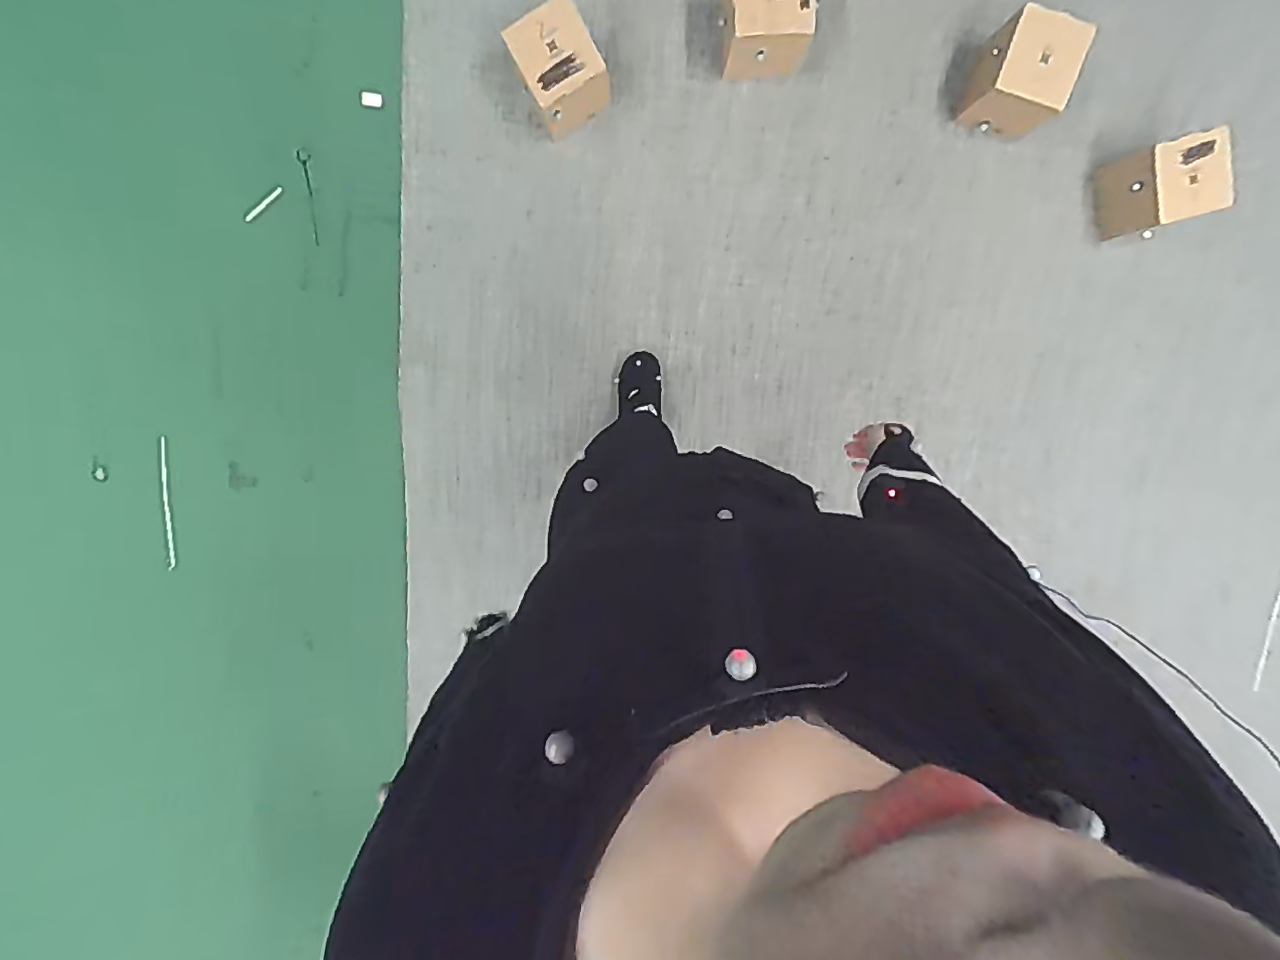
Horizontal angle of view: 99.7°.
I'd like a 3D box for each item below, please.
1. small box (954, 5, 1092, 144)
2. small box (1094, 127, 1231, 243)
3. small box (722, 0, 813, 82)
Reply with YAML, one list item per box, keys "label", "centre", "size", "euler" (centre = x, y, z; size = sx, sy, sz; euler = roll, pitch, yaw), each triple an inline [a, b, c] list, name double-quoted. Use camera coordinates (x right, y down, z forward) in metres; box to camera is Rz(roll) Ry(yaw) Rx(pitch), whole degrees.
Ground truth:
- label: "small box"
  centre: [0.869, -0.923, 1.248]
  size: [0.168, 0.176, 0.179]
  euler: [17, 99, -3]
- label: "small box"
  centre: [1.234, -0.693, 1.289]
  size: [0.168, 0.176, 0.179]
  euler: [-15, 100, 3]
- label: "small box"
  centre: [0.281, -1.037, 1.224]
  size: [0.179, 0.176, 0.168]
  euler: [-3, 100, 1]
